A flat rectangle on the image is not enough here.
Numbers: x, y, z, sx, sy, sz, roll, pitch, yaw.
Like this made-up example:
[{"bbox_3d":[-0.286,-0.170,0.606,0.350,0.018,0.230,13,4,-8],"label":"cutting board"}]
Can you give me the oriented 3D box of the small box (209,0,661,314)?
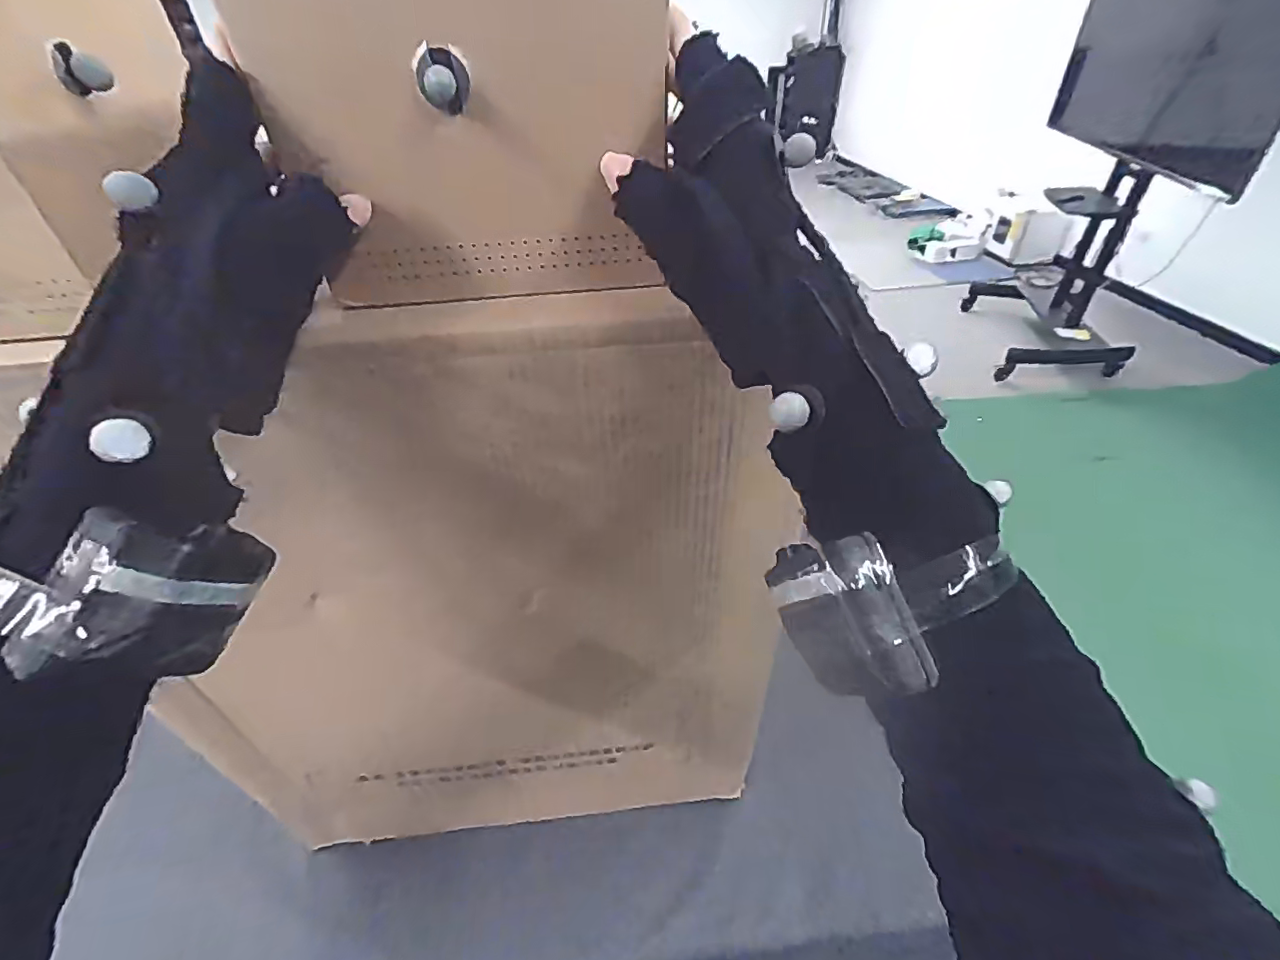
[{"bbox_3d":[-0.083,-0.205,0.297,0.179,0.176,0.168,-5,41,-3],"label":"small box"}]
